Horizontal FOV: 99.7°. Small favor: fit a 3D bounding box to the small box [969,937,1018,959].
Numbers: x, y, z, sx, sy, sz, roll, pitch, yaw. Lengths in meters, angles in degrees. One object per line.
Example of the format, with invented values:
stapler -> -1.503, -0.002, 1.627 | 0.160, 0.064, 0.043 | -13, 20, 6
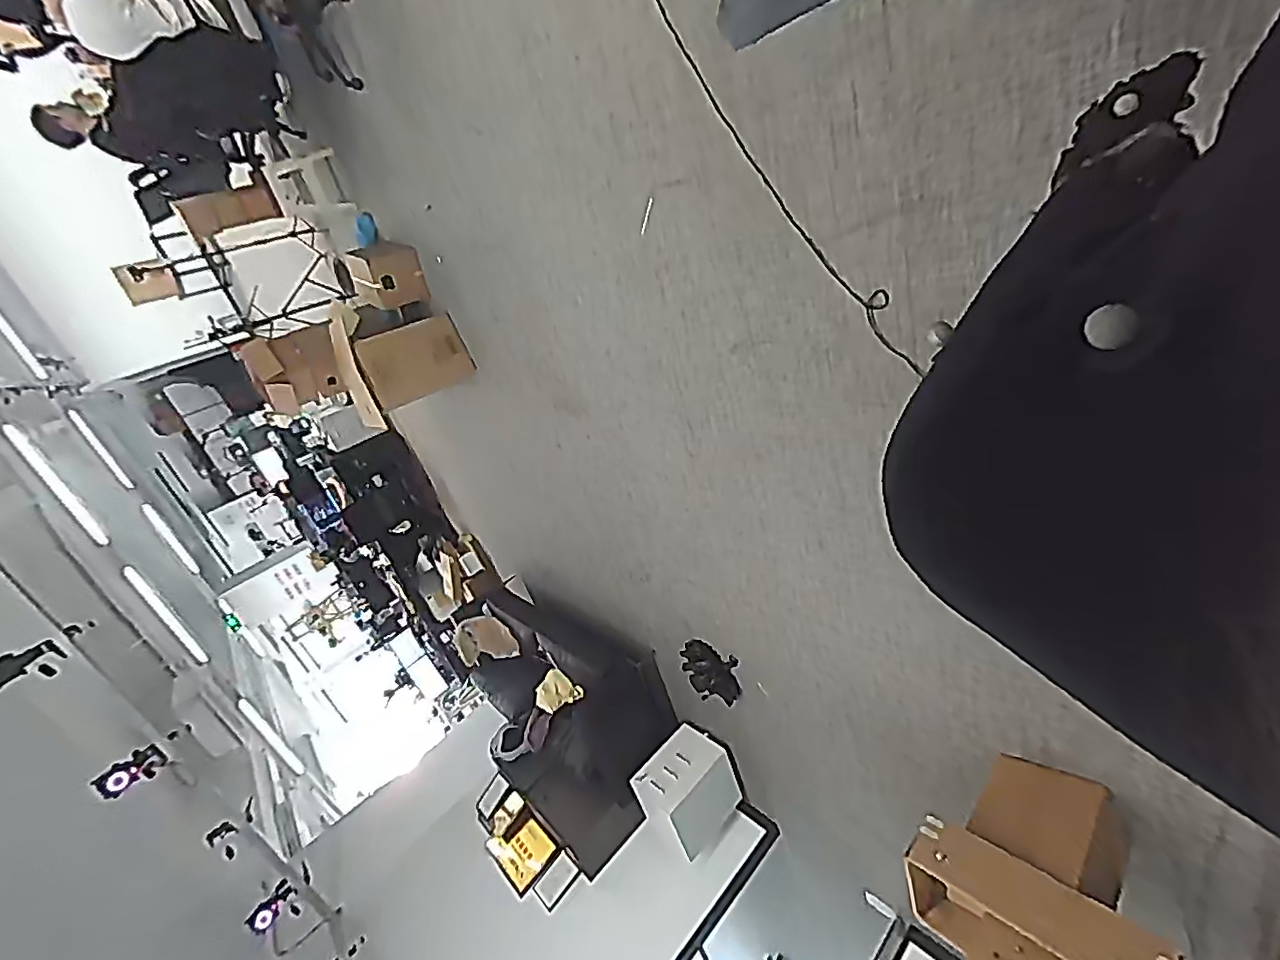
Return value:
small box -> 1.009, 1.439, 1.494 | 0.168, 0.176, 0.179 | 4, 122, 52
